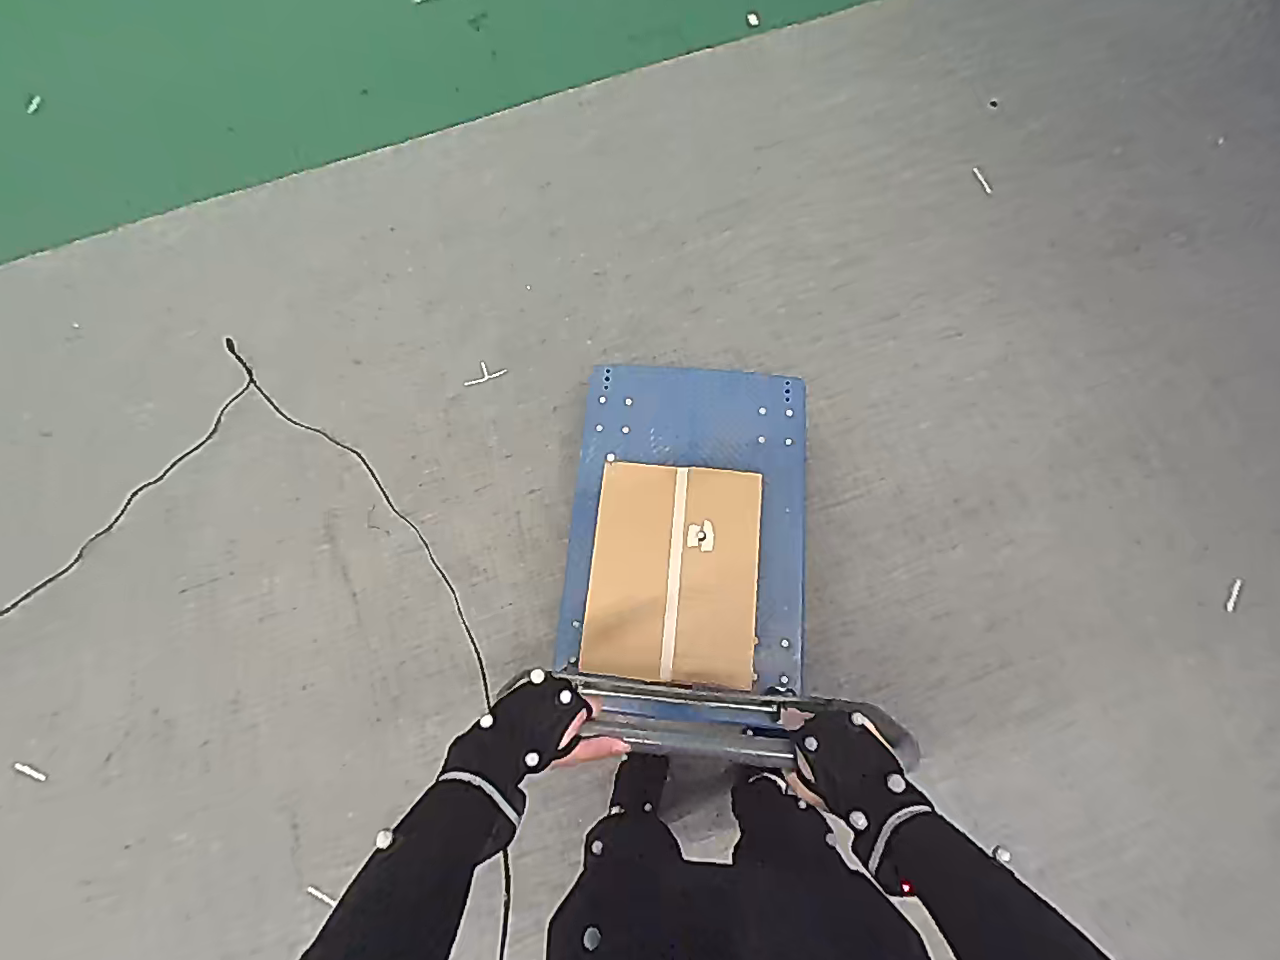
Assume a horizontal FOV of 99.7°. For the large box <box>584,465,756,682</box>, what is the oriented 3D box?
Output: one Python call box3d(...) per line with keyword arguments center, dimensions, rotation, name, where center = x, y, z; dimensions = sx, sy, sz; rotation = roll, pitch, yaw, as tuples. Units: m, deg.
box3d(center=(0.072, 0.212, 1.178), dimensions=(0.320, 0.320, 0.408), rotation=(5, 73, 3), name="large box")
